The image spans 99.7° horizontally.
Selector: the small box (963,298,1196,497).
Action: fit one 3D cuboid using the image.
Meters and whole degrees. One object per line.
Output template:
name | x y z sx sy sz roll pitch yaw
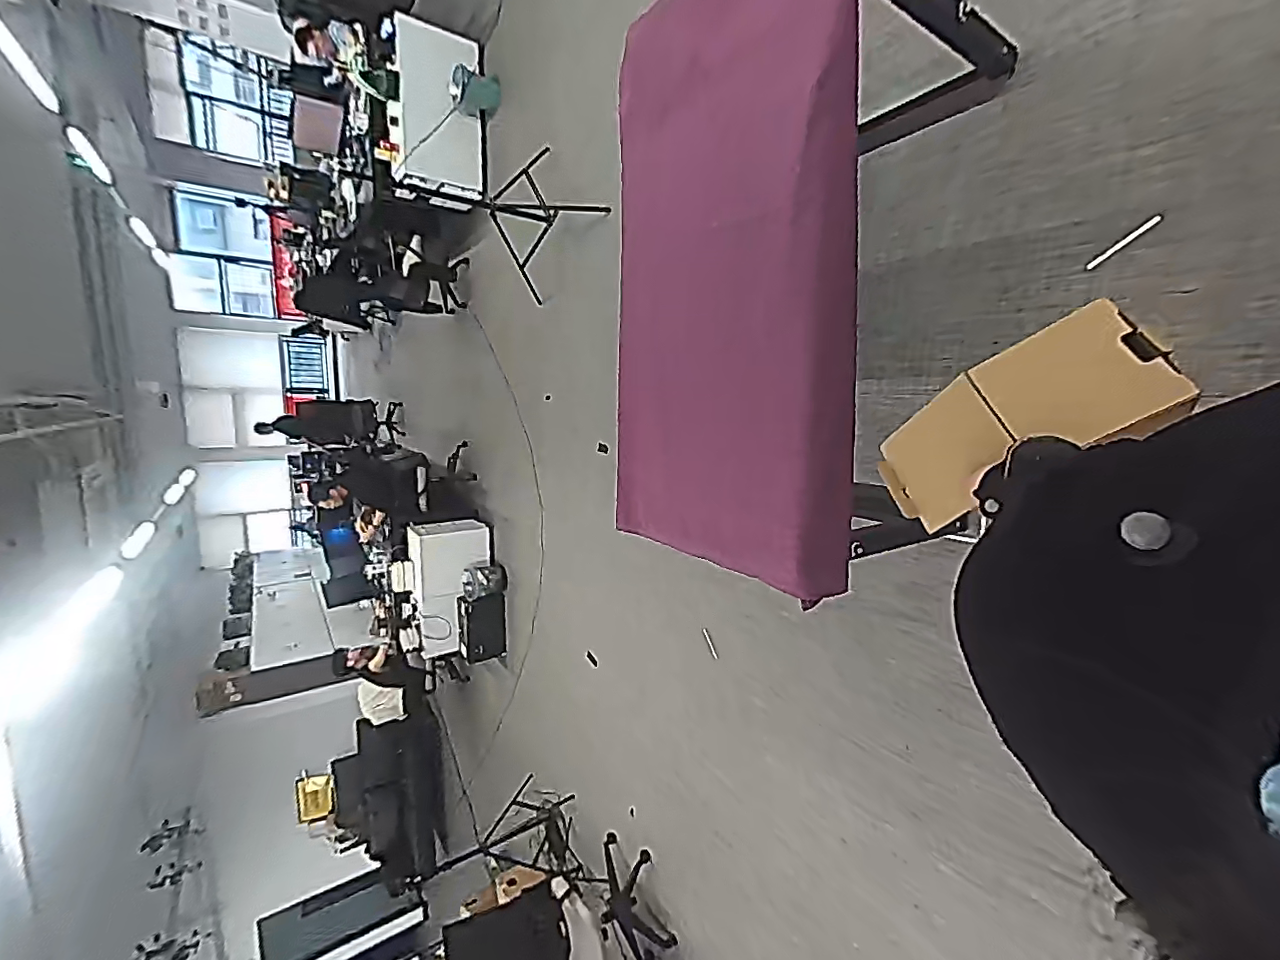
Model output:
small box | 0.578 -0.097 0.728 0.179 0.176 0.168 -32 57 25
